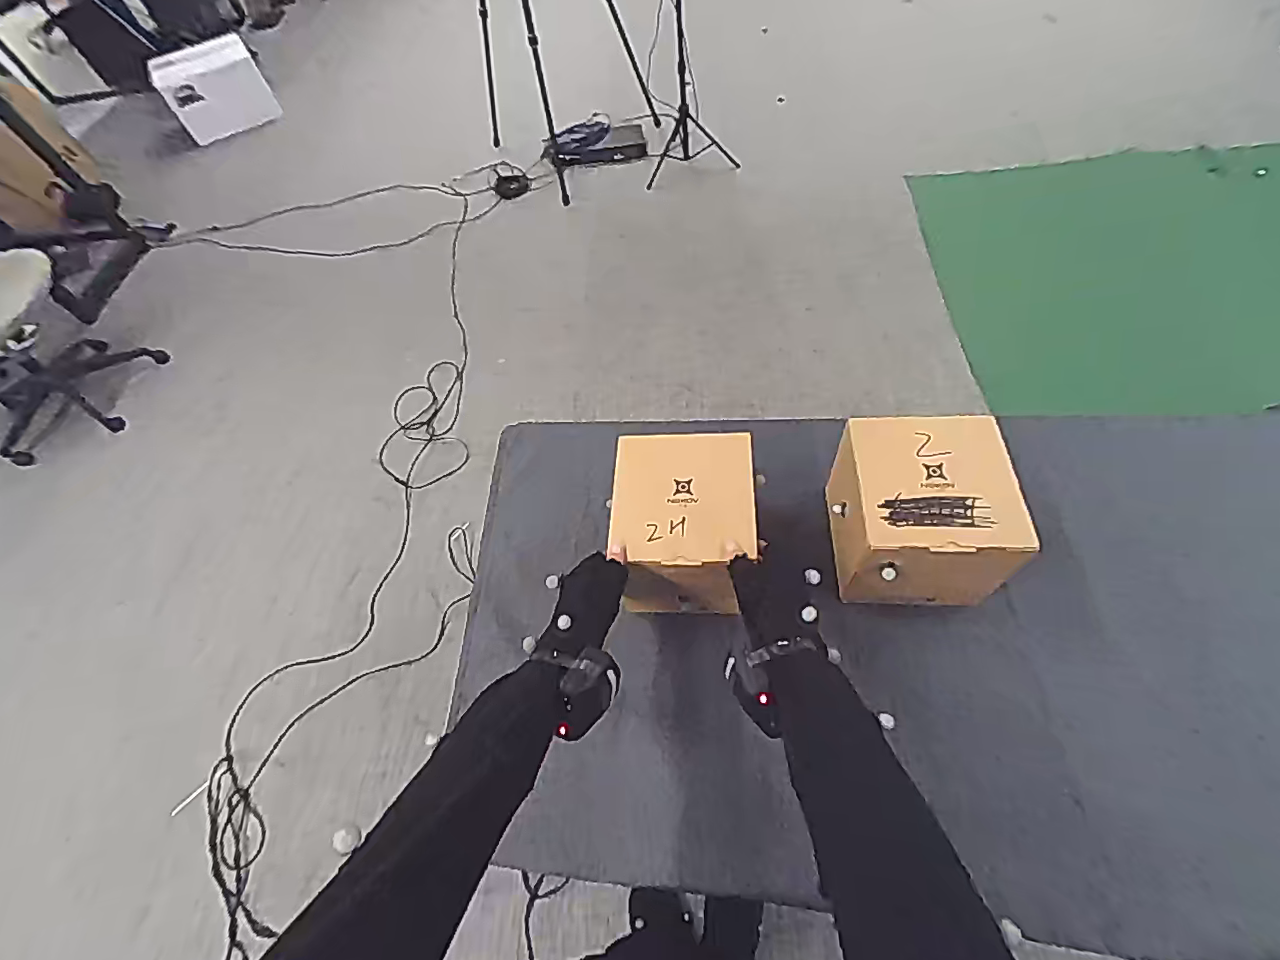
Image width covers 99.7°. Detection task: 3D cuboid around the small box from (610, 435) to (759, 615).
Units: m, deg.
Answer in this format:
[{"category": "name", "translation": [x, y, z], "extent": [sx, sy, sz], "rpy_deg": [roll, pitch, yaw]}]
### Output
[{"category": "small box", "translation": [0.061, 0.060, 0.695], "extent": [0.168, 0.176, 0.179], "rpy_deg": [-1, 58, 8]}]
